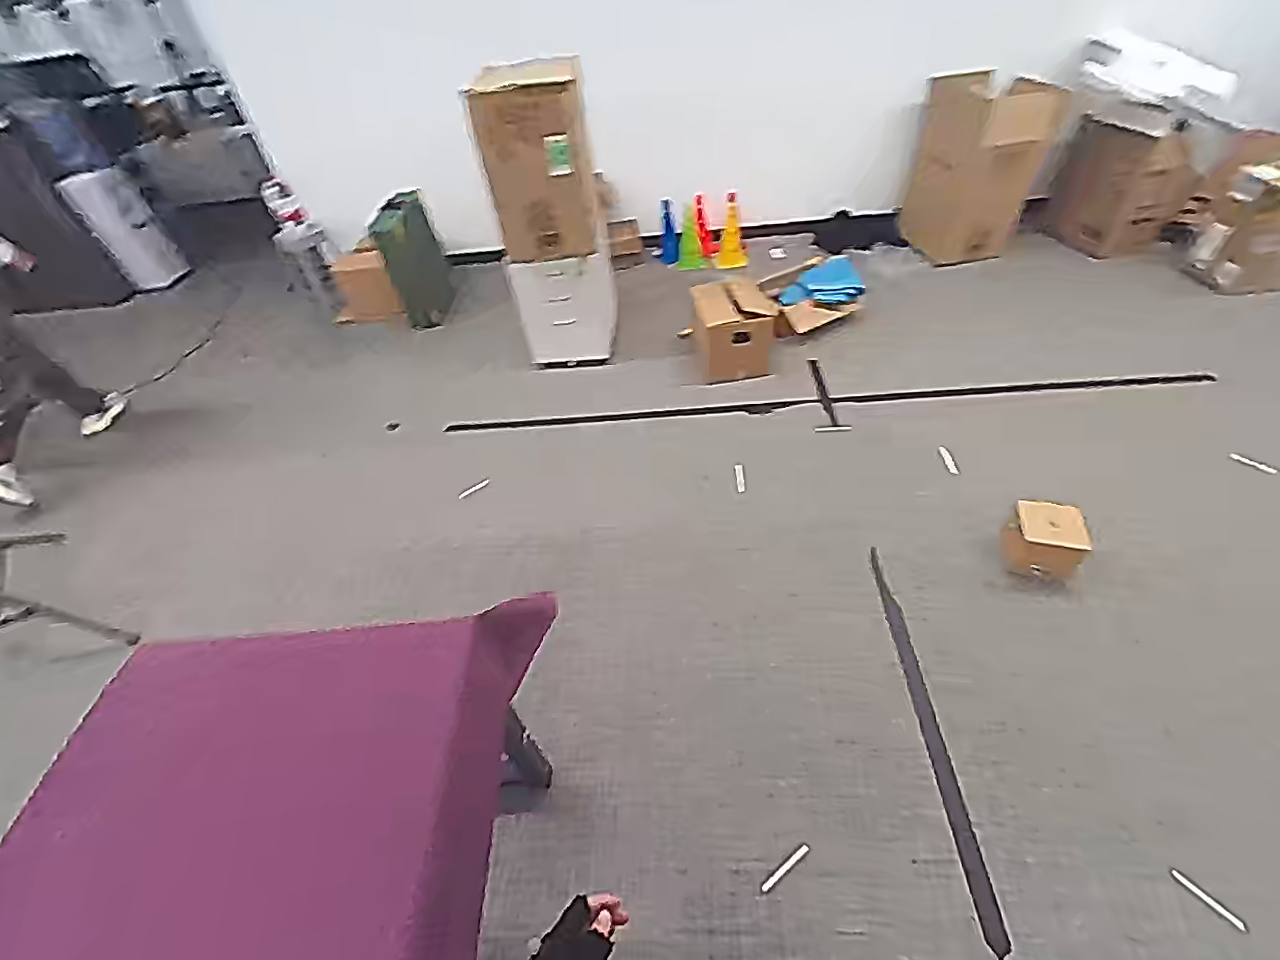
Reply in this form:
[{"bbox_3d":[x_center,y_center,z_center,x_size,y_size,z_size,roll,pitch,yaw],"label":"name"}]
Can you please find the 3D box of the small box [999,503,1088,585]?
[{"bbox_3d":[1.254,0.201,1.697,0.168,0.176,0.179,7,47,17],"label":"small box"}]
